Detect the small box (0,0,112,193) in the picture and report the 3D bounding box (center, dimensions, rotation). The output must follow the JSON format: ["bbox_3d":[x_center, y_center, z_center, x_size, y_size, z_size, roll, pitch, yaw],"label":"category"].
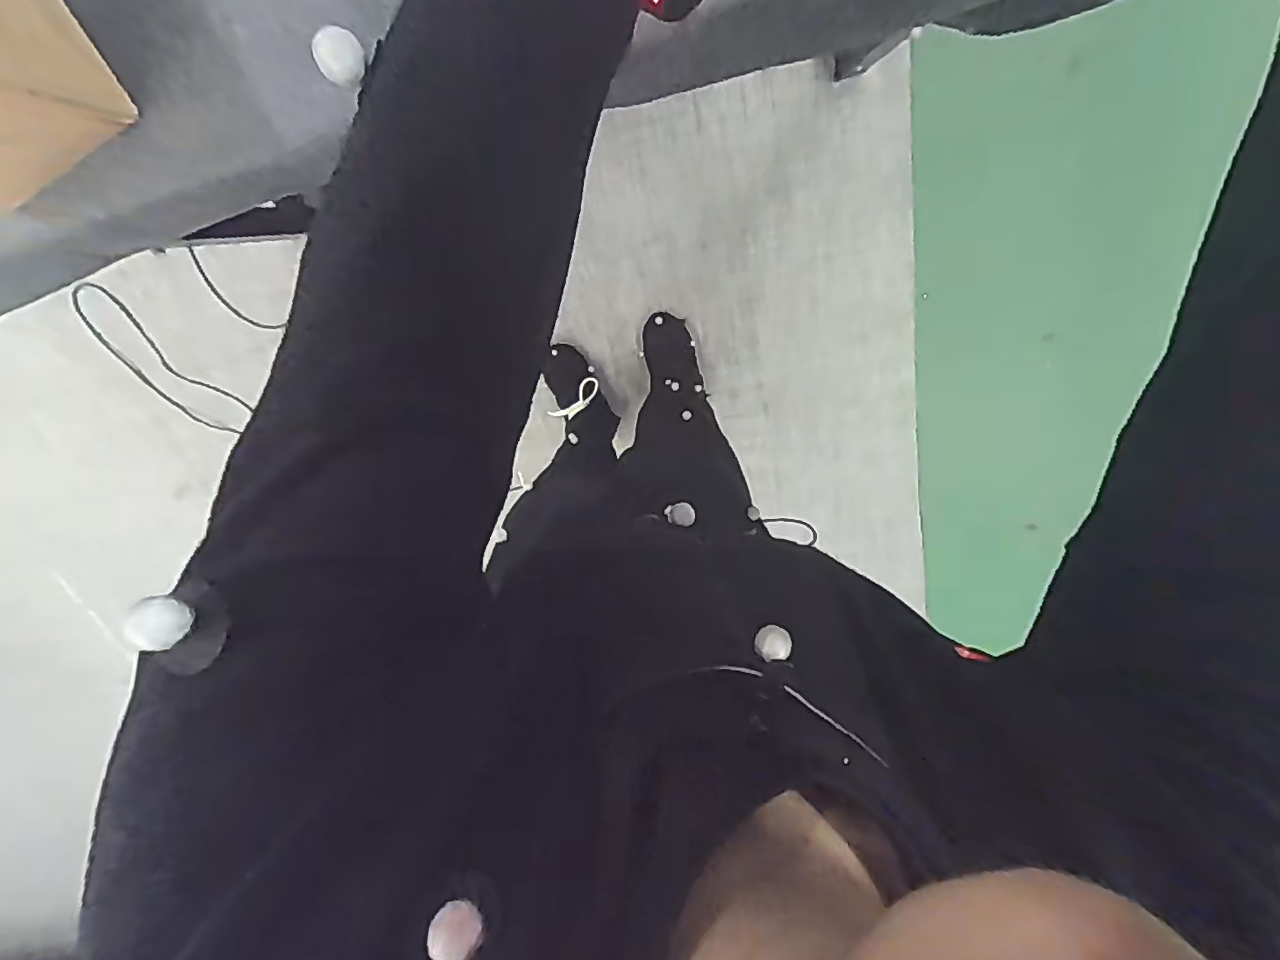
[{"bbox_3d":[-0.536,-0.319,0.370,0.179,0.176,0.168,-21,112,13],"label":"small box"}]
